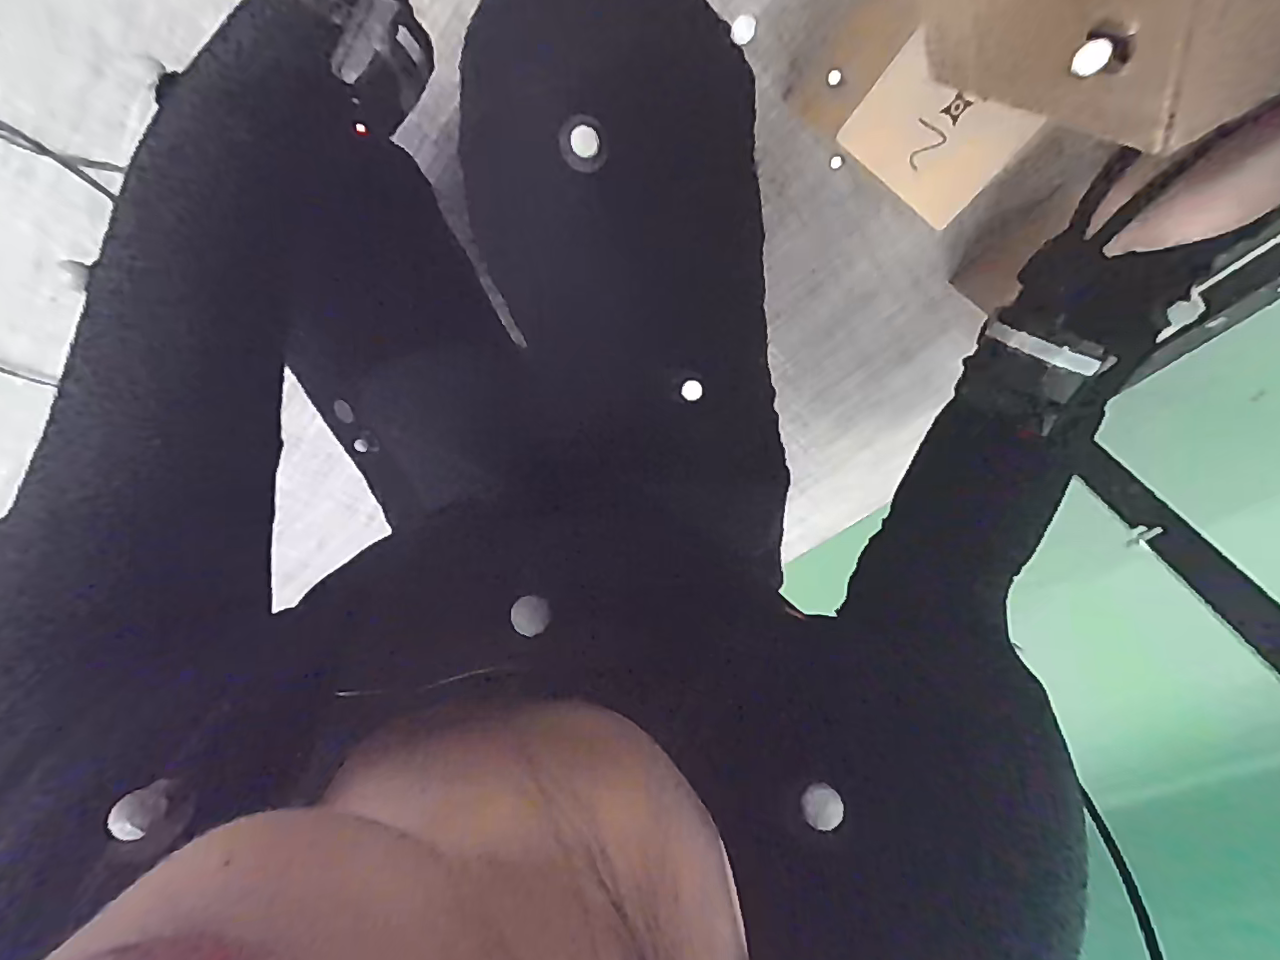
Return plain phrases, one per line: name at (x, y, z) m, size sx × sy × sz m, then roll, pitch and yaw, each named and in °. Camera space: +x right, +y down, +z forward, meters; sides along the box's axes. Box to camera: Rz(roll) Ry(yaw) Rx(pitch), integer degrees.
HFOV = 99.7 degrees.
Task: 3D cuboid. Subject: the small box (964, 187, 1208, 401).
small box at (0.574, -0.247, 0.723) m, size 0.168 × 0.176 × 0.179 m, roll 27°, pitch 124°, yaw -29°
